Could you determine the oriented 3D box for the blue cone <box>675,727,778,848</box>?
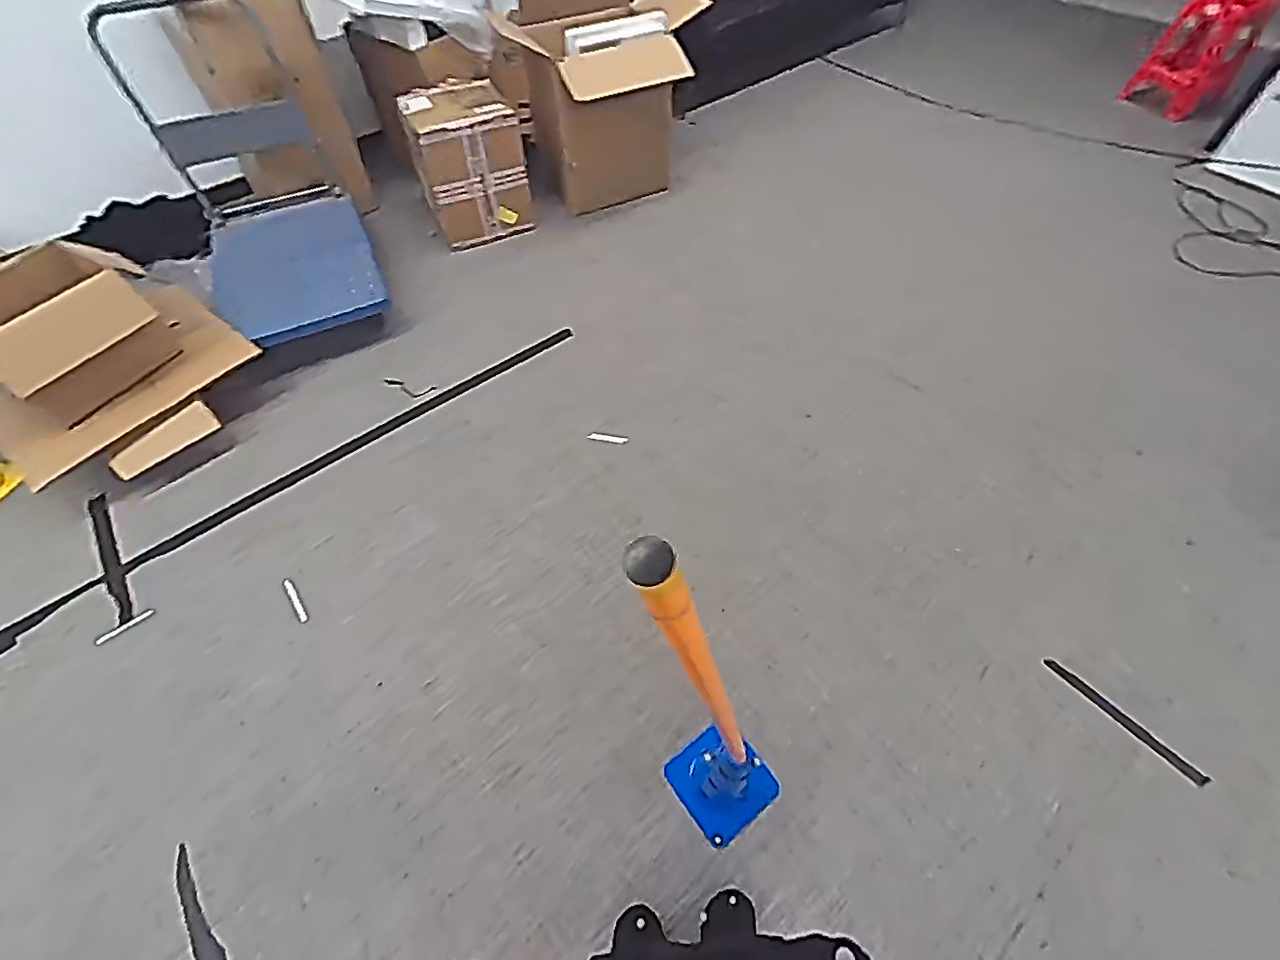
[{"bbox_3d":[0.188,0.590,1.082,0.193,0.380,0.192,-31,61,-18],"label":"blue cone"}]
